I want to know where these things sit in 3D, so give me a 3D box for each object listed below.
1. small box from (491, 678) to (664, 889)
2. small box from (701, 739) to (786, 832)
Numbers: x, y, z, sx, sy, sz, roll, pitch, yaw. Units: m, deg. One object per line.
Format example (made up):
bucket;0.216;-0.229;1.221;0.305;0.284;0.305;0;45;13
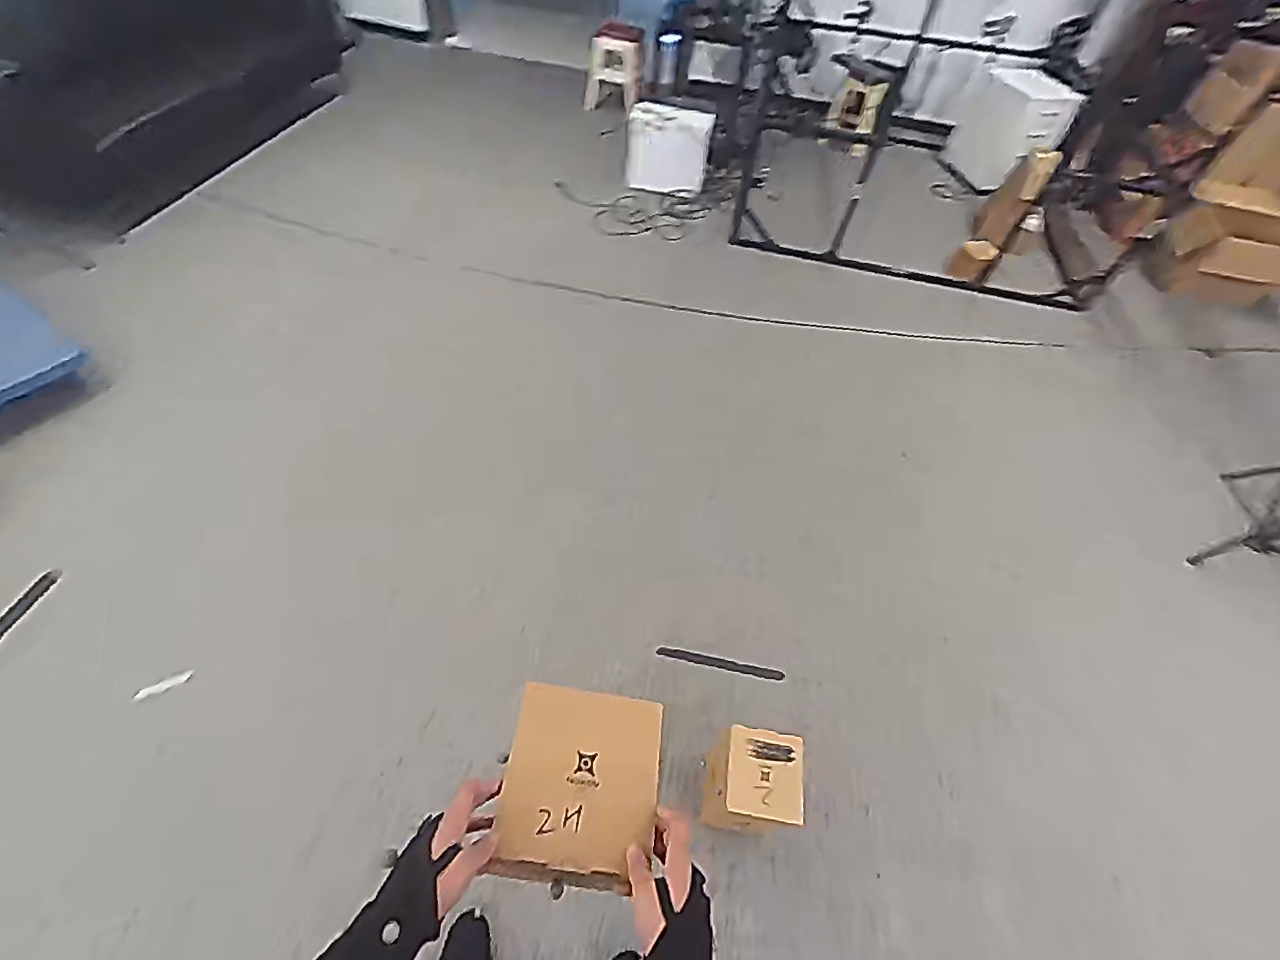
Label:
small box;-0.075;0.365;0.648;0.168;0.176;0.179;11;49;-4
small box;0.258;0.779;1.372;0.179;0.176;0.168;12;53;2
